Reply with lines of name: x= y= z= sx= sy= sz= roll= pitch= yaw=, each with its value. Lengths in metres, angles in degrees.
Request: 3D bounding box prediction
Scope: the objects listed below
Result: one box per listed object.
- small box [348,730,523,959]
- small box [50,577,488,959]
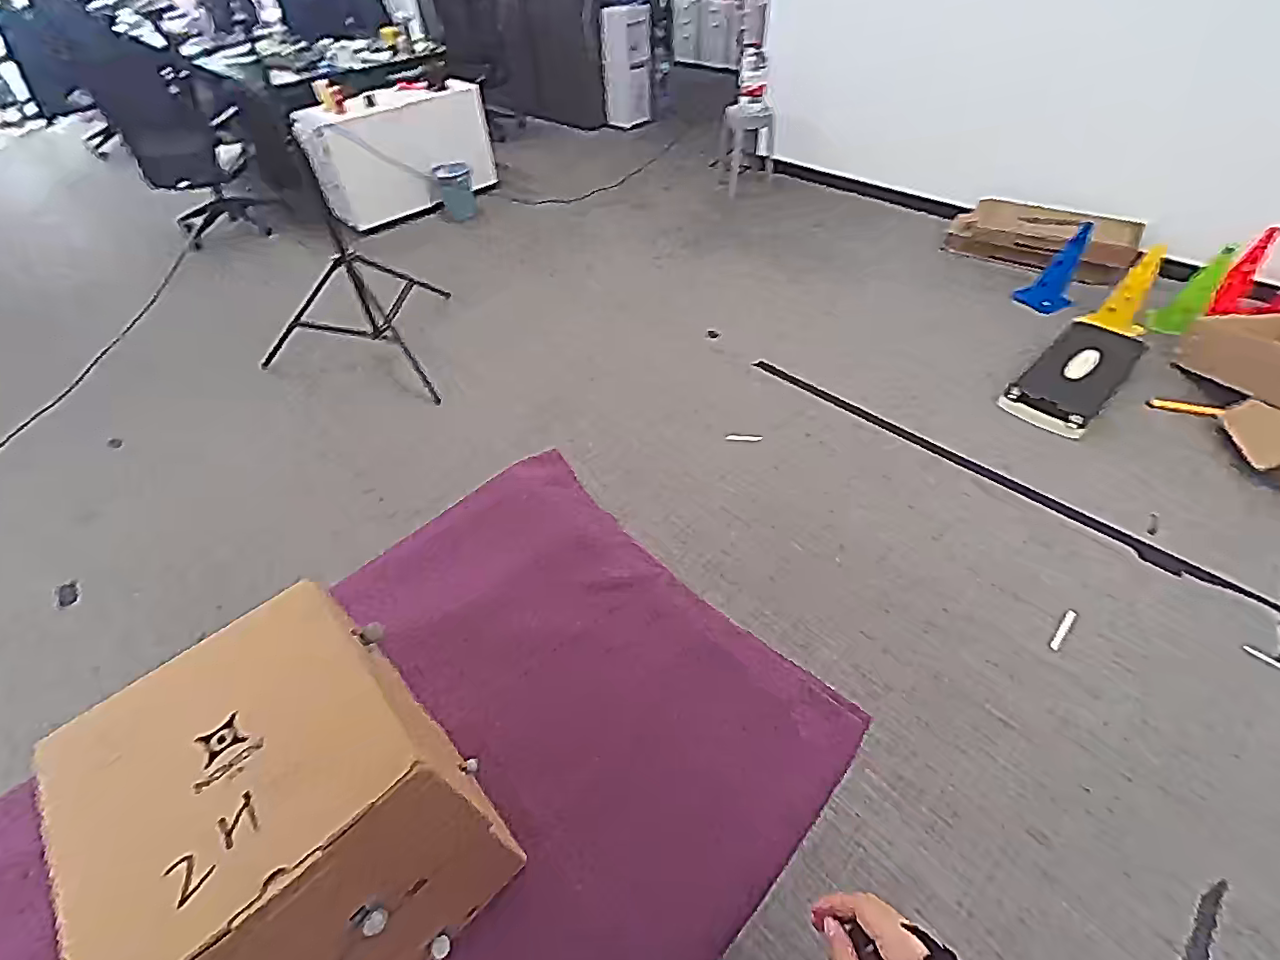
small box: x=-0.232 y=0.325 z=0.493 sx=0.168 sy=0.176 sz=0.179 roll=-36 pitch=55 yaw=-26
small box: x=-0.234 y=0.210 z=0.375 sx=0.168 sy=0.176 sz=0.179 roll=-36 pitch=55 yaw=-26
